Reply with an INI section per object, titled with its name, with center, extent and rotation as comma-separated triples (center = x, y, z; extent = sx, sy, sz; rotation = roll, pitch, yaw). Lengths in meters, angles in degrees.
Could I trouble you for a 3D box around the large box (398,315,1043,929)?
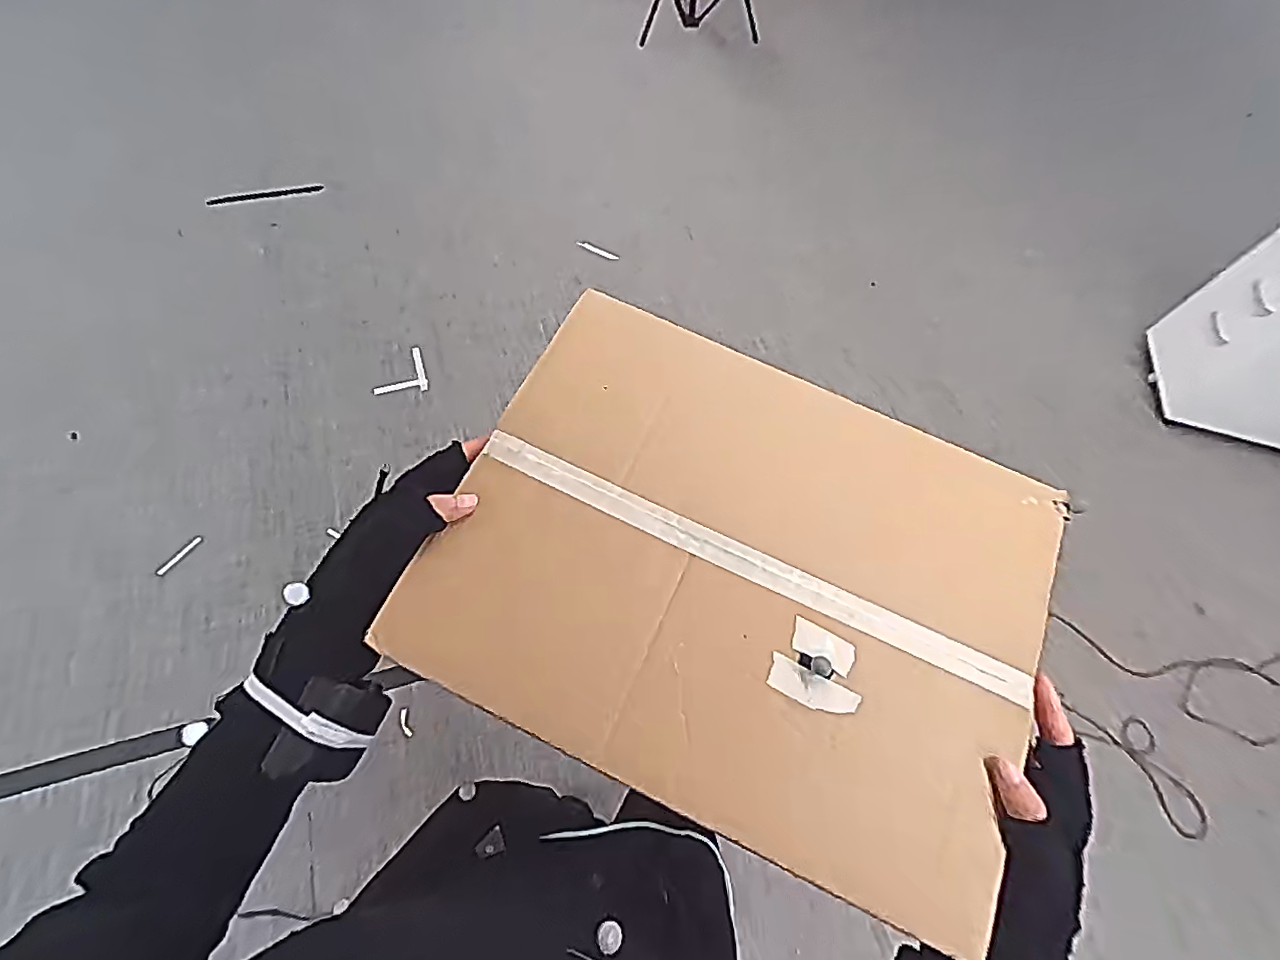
[large box]
center = 0.066, 0.116, 0.531
extent = 0.408, 0.320, 0.320
rotation = 25, 70, 6
